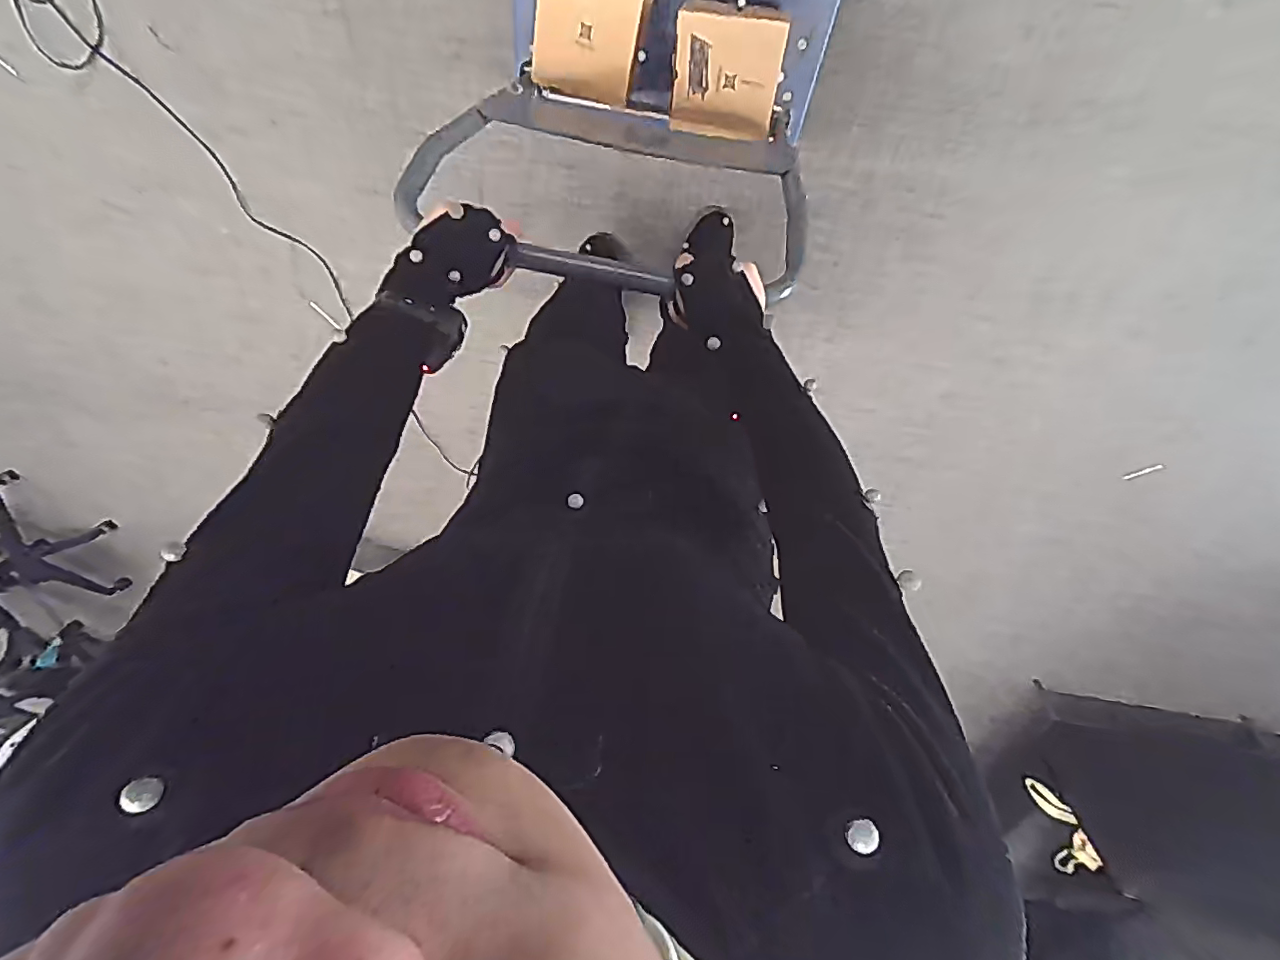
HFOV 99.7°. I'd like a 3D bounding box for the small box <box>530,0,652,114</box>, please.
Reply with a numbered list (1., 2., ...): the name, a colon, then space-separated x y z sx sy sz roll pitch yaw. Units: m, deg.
1. small box: -0.081 -0.775 0.932 0.168 0.176 0.179 15 138 -6
